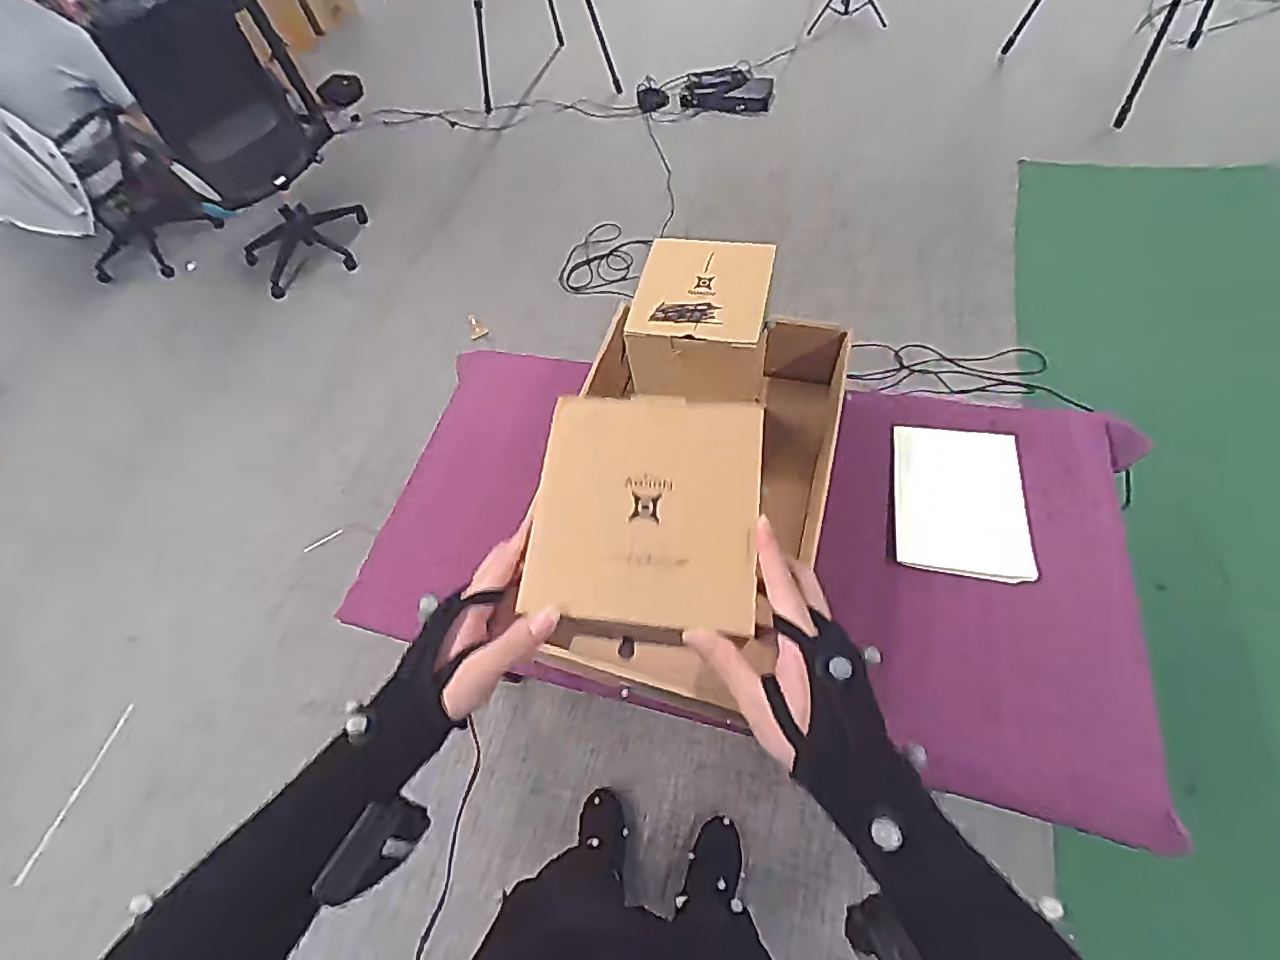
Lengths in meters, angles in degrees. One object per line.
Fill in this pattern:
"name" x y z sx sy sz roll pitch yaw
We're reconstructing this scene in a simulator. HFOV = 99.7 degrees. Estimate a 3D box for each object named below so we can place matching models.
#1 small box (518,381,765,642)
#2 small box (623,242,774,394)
"small box" 0.012 0.036 0.471 0.168 0.176 0.179 4 69 8
"small box" 0.086 -0.200 0.753 0.168 0.176 0.179 9 62 12
